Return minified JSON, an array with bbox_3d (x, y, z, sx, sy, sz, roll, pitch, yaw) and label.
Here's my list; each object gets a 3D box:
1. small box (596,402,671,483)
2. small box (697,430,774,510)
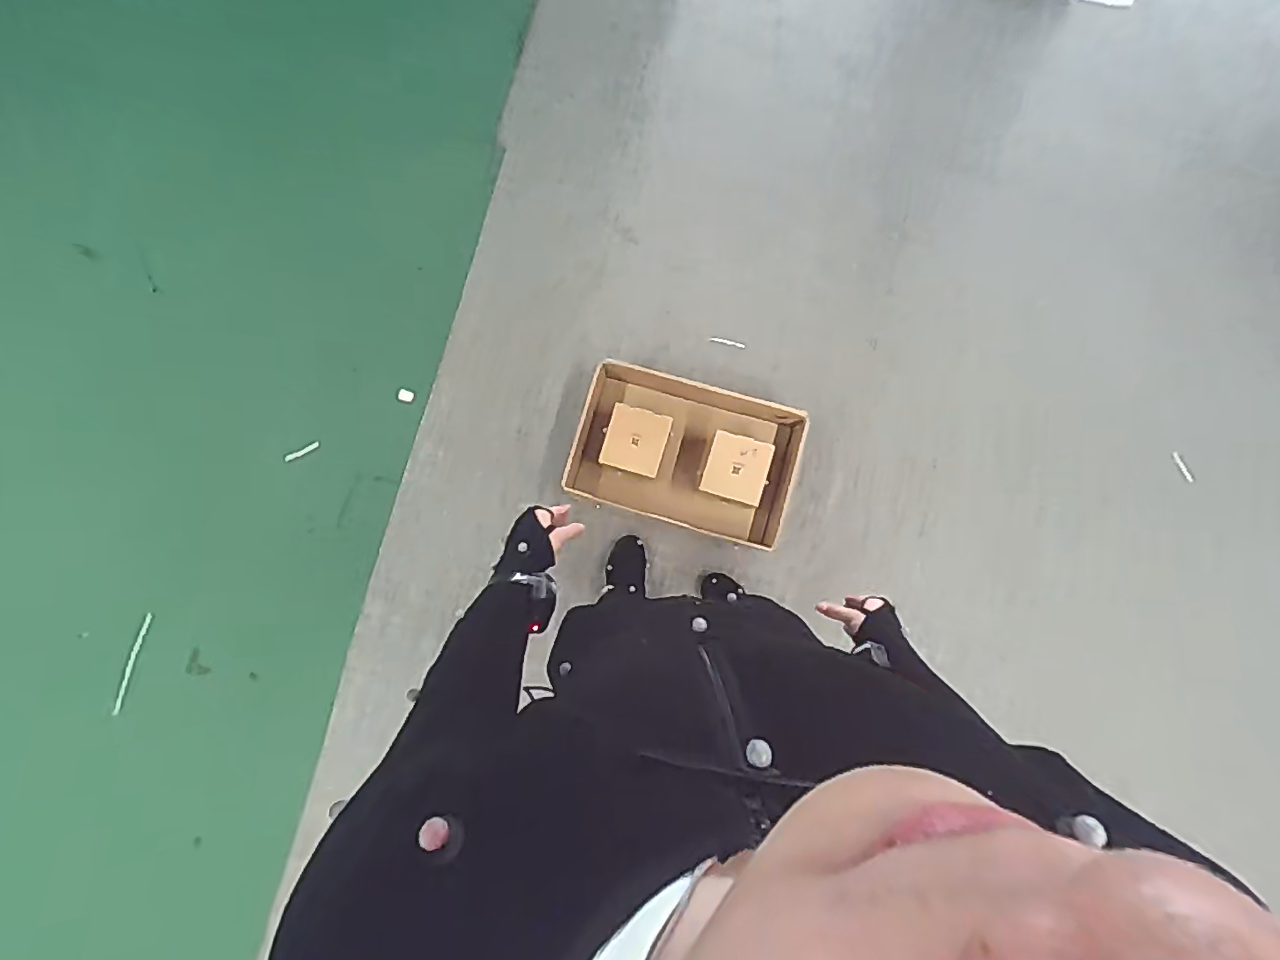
[{"bbox_3d":[-0.013,-0.098,1.539,0.168,0.176,0.179,16,84,3],"label":"small box"},{"bbox_3d":[0.261,-0.021,1.520,0.168,0.176,0.179,18,85,4],"label":"small box"}]
